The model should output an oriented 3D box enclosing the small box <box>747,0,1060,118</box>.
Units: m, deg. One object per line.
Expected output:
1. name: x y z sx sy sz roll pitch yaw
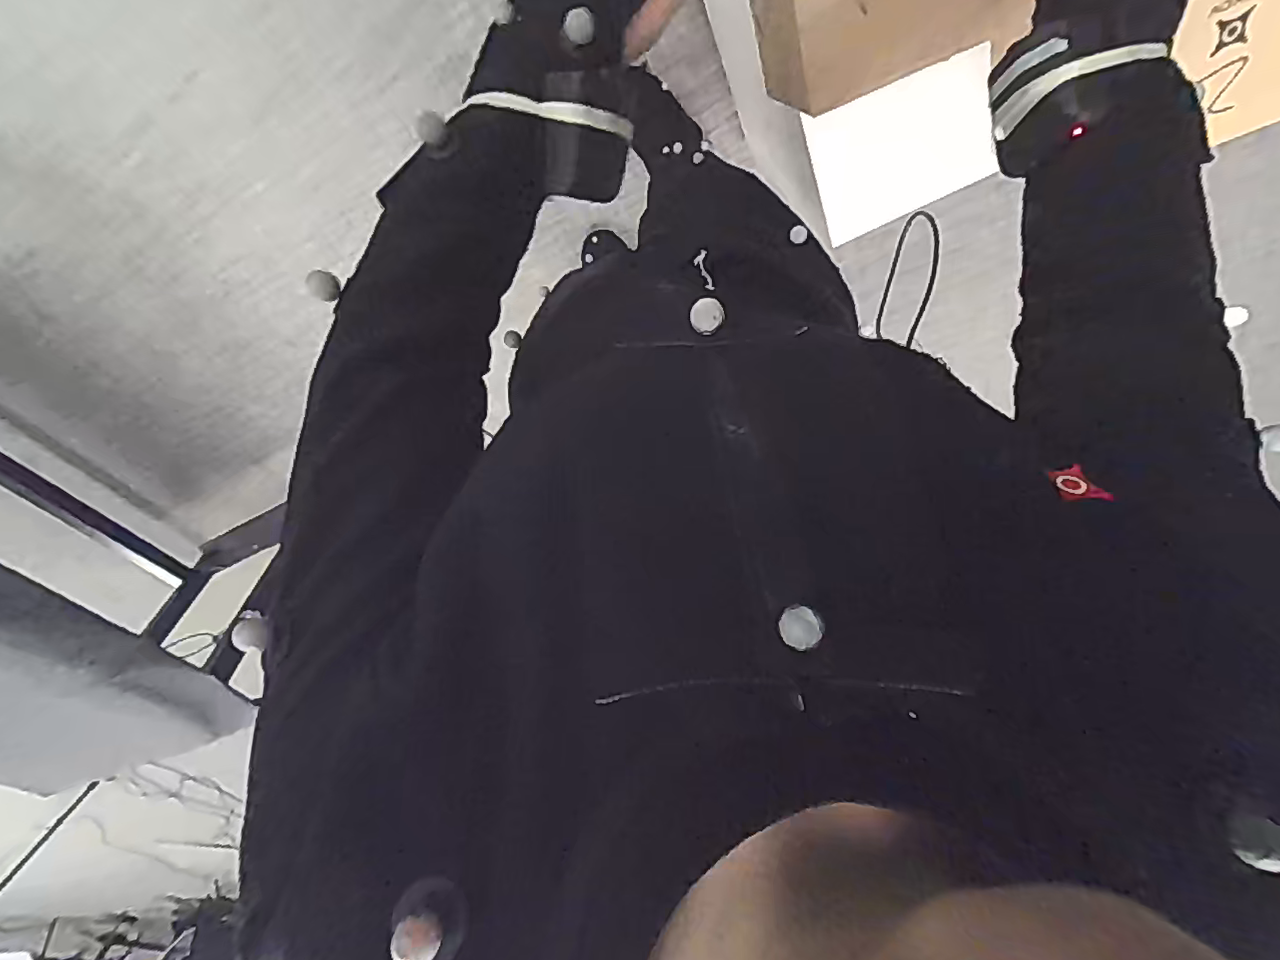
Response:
1. small box: 0.179 -0.408 0.406 0.179 0.176 0.168 -18 127 13
